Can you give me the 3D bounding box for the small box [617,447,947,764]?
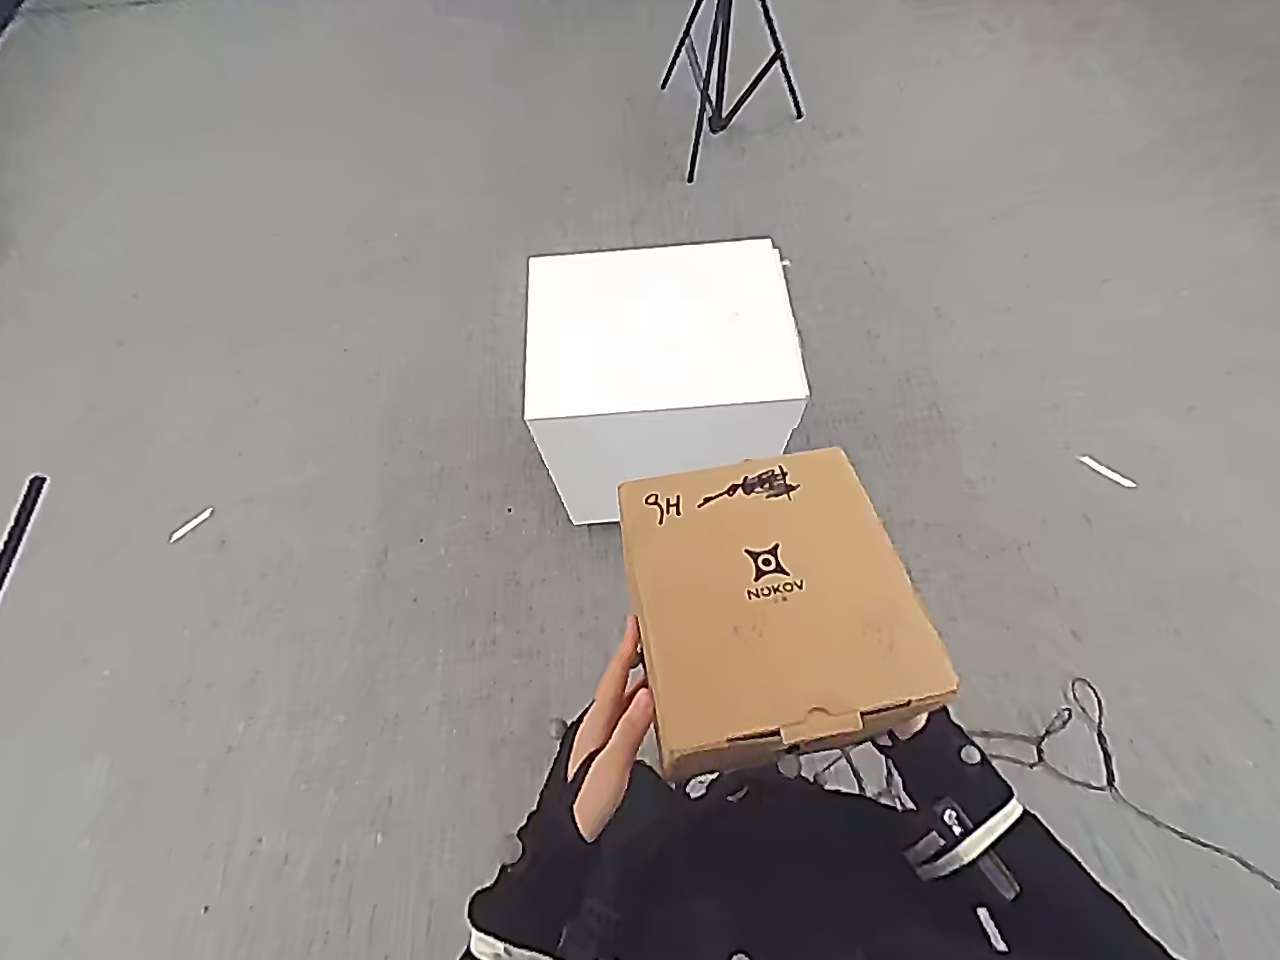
[{"bbox_3d":[0.080,0.103,0.406,0.168,0.176,0.179,-9,58,-6],"label":"small box"}]
